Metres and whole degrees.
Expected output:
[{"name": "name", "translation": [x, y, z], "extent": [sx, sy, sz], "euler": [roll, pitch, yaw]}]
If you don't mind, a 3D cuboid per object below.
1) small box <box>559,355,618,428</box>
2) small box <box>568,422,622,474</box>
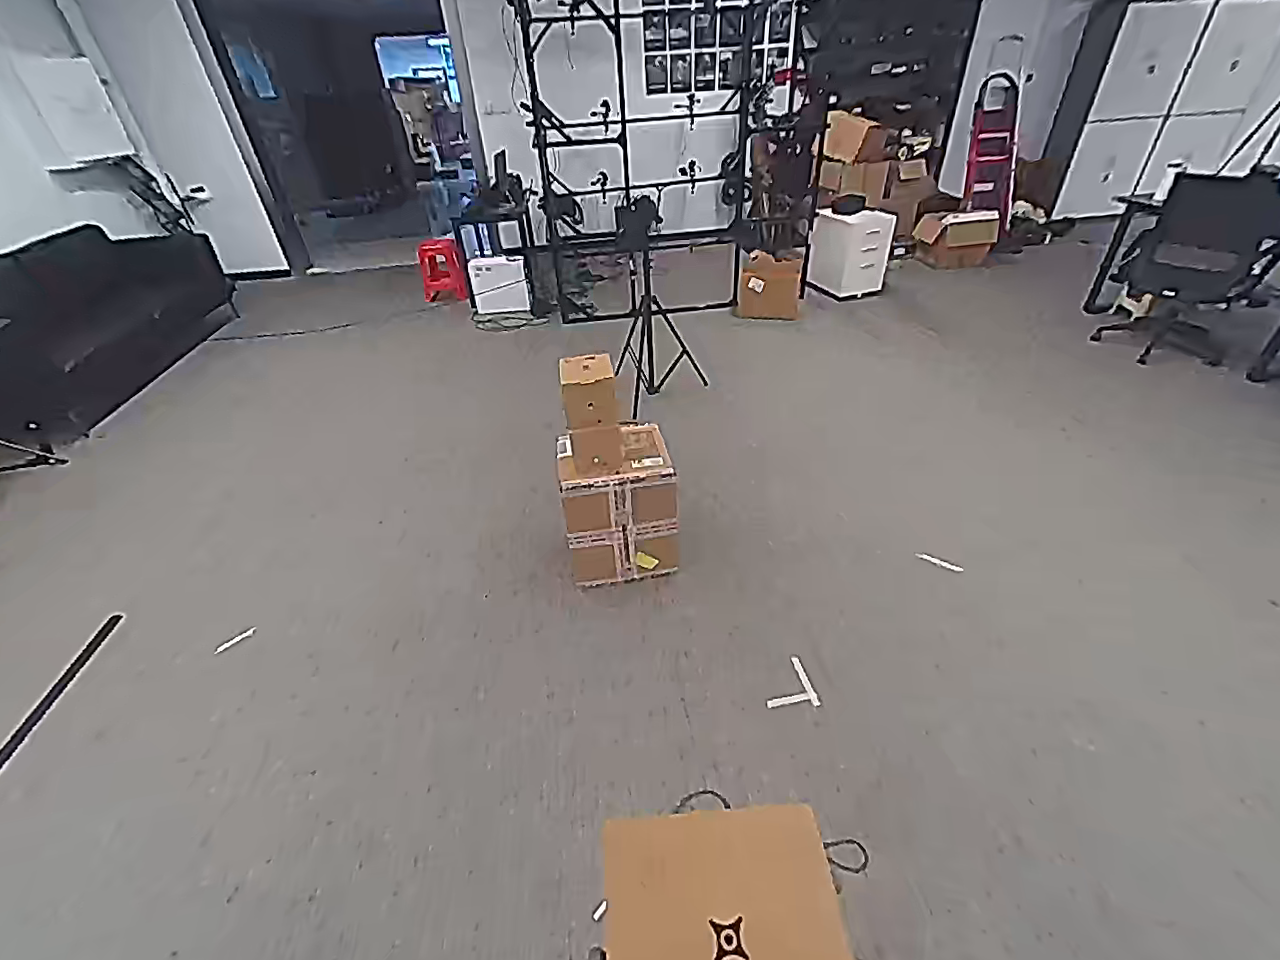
[{"name": "small box", "translation": [-0.165, -0.280, 1.746], "extent": [0.168, 0.176, 0.179], "euler": [-8, 40, -4]}, {"name": "small box", "translation": [-0.156, -0.144, 1.838], "extent": [0.168, 0.176, 0.179], "euler": [-9, 40, -6]}]
